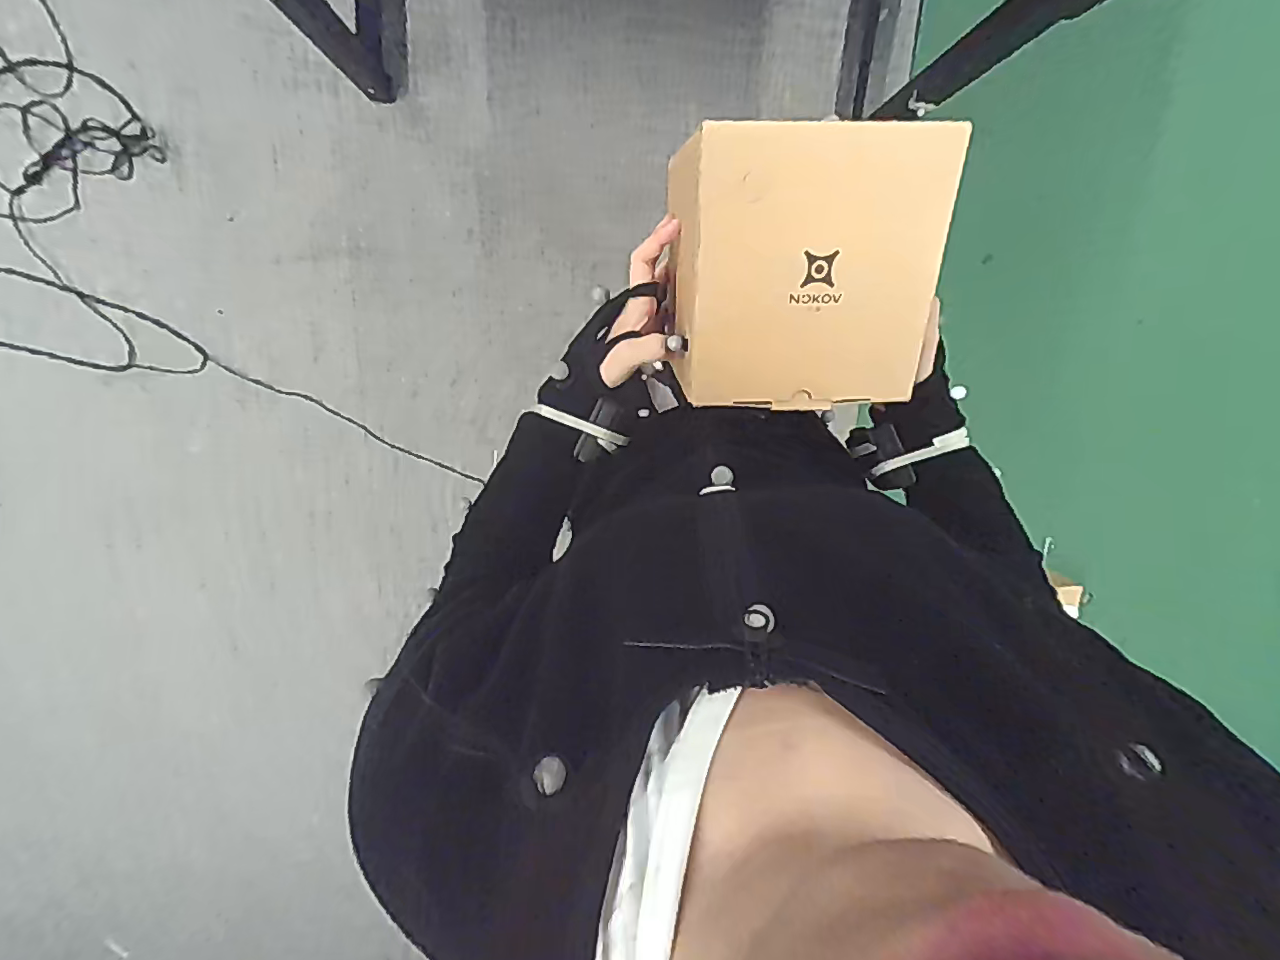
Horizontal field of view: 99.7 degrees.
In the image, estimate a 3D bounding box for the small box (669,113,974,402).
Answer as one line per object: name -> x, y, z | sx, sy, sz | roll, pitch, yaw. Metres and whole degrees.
small box -> 0.115, -0.169, 0.427 | 0.168, 0.176, 0.179 | -2, 116, -4
